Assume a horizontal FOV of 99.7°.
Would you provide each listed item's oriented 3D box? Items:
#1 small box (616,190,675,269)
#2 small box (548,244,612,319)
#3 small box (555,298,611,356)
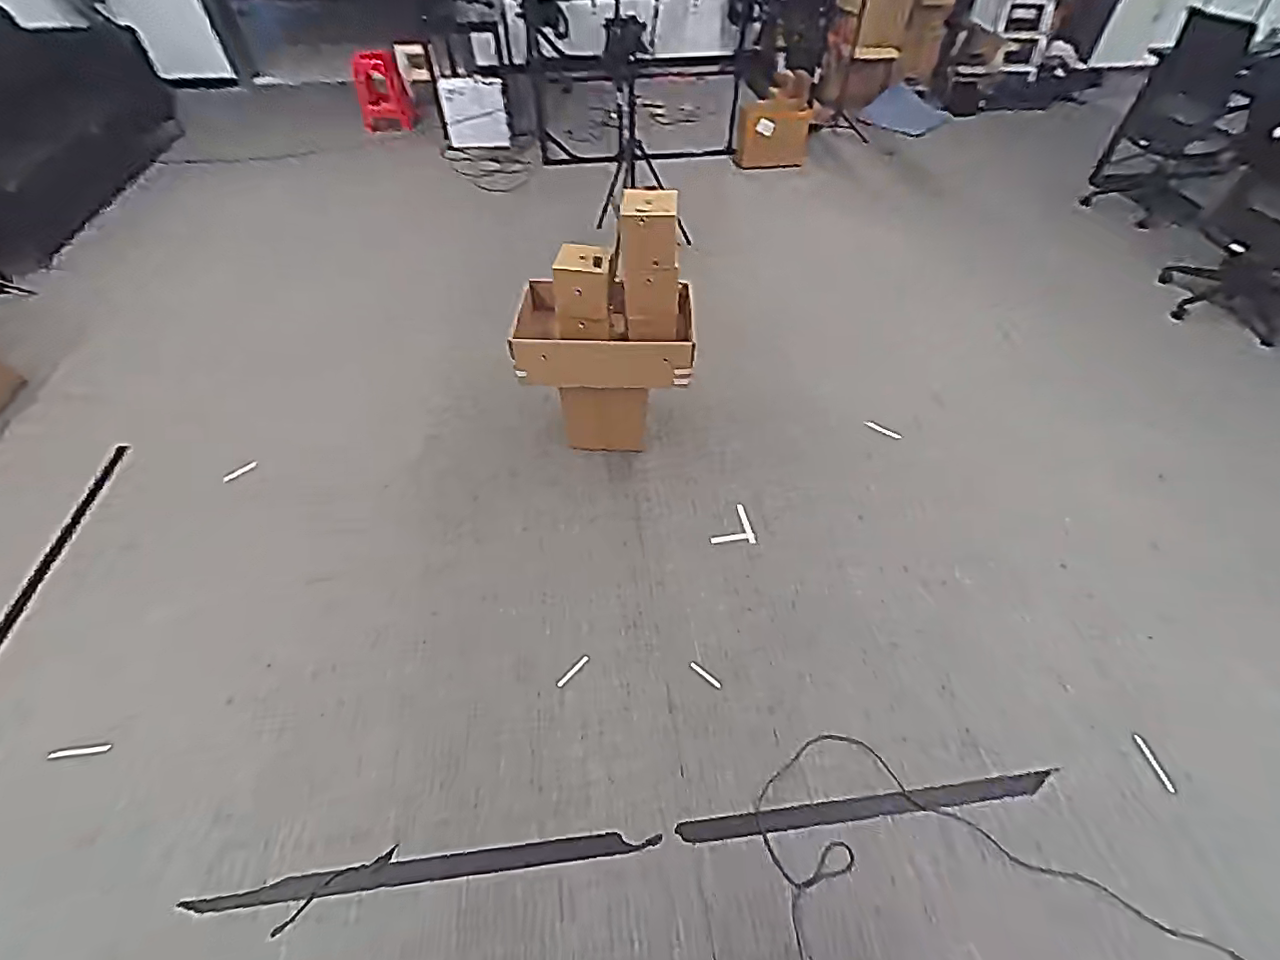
[{"bbox_3d":[0.020,-0.768,1.657,0.168,0.176,0.179,1,49,5],"label":"small box"},{"bbox_3d":[-0.190,-0.650,1.779,0.179,0.176,0.168,6,50,5],"label":"small box"},{"bbox_3d":[-0.195,-0.555,1.912,0.179,0.176,0.168,3,50,2],"label":"small box"}]
